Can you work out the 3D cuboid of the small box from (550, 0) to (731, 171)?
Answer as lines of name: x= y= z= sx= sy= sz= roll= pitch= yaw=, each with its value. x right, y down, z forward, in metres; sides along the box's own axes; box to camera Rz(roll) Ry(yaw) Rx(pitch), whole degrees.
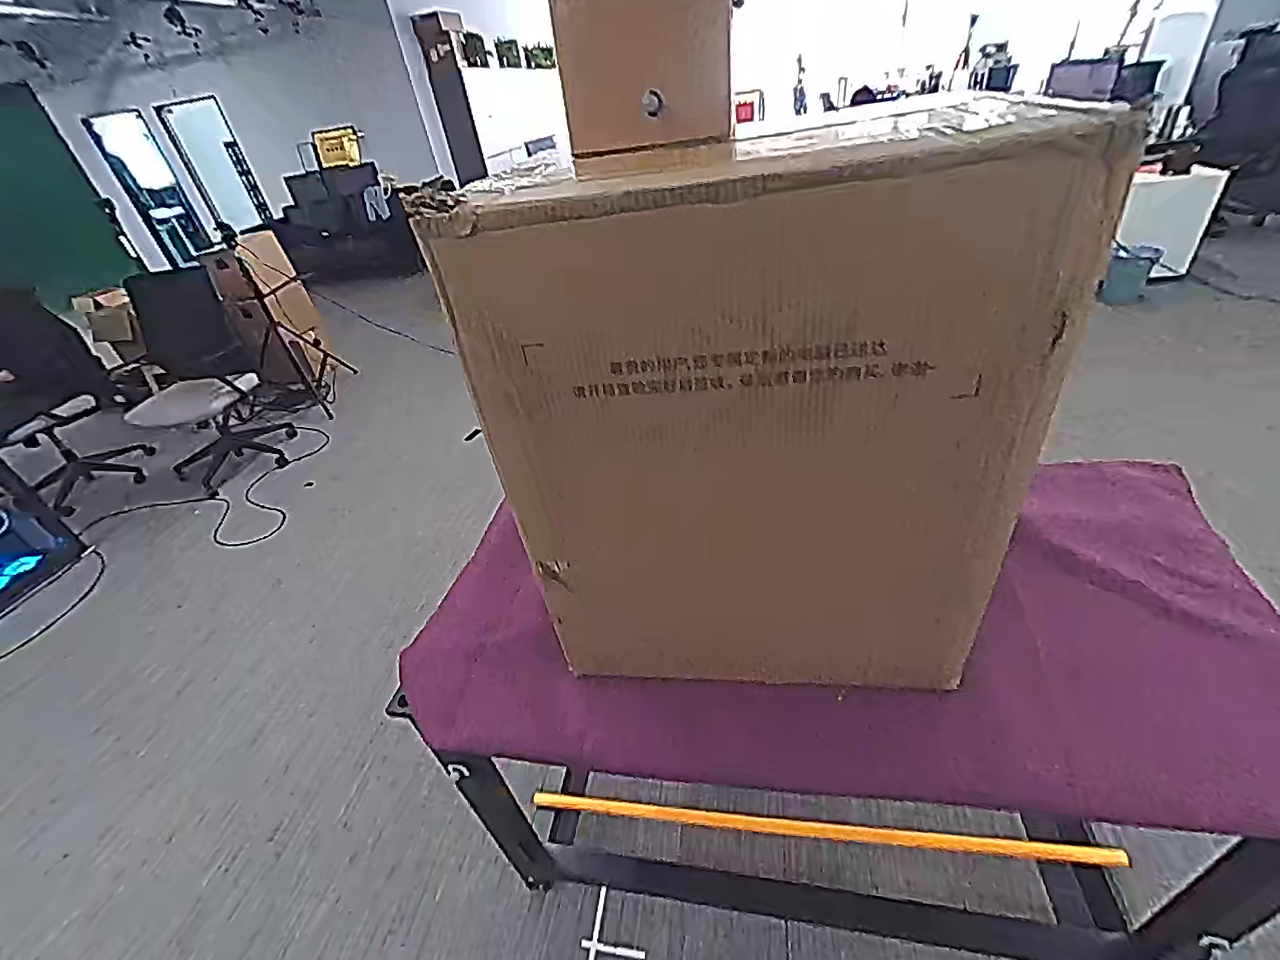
small box: x=0.010 y=-0.454 z=0.596 sx=0.179 sy=0.176 sz=0.168 roll=0 pitch=36 yaw=12
